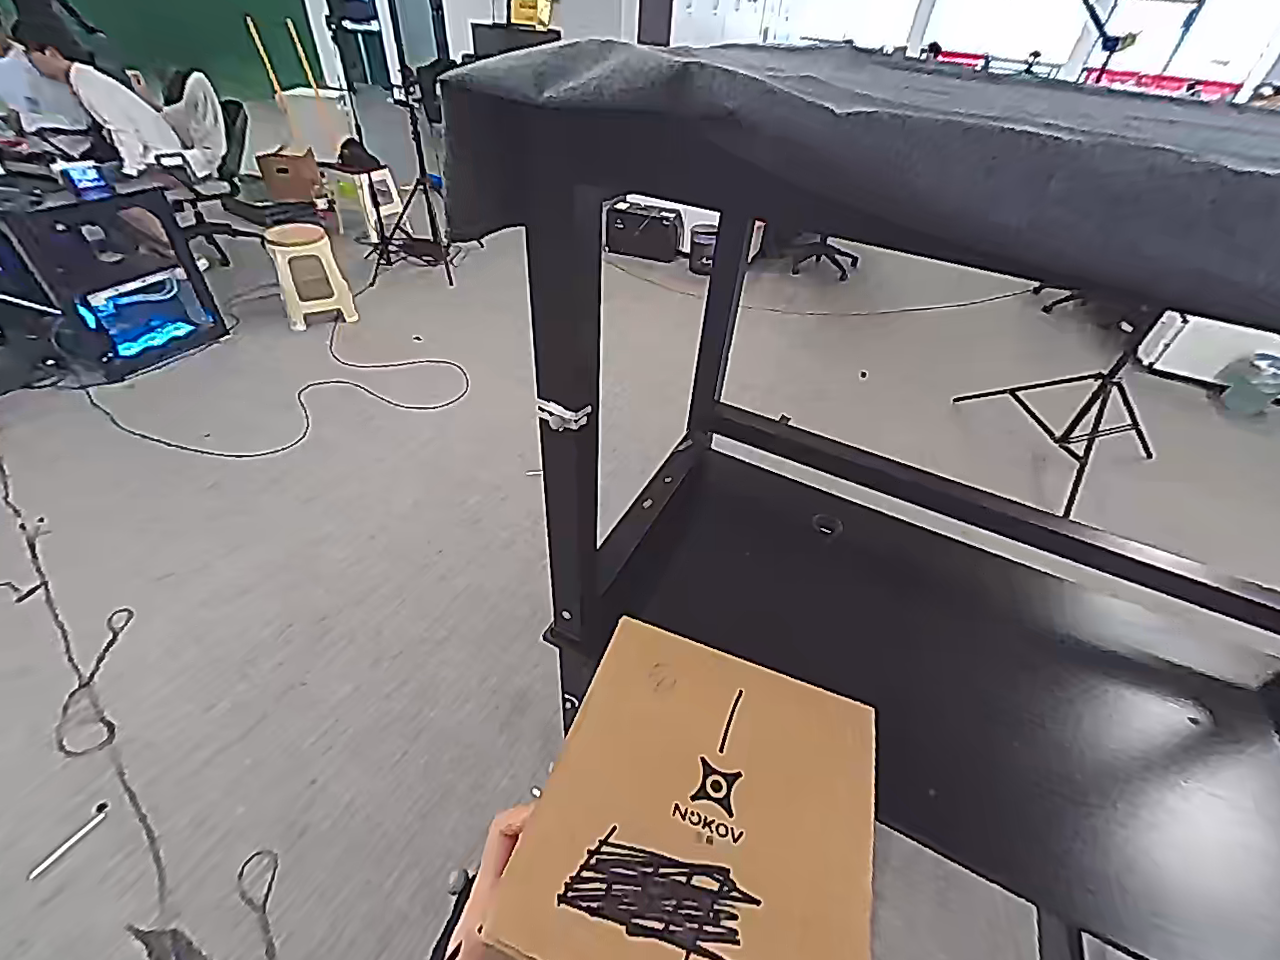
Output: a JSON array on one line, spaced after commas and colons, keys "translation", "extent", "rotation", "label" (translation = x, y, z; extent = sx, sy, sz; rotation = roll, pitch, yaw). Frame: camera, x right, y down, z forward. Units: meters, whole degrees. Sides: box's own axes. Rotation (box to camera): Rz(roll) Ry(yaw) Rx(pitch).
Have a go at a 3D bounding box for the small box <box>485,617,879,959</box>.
[{"translation": [0.030, 0.224, 0.330], "extent": [0.168, 0.176, 0.179], "rotation": [18, 42, 11], "label": "small box"}]
